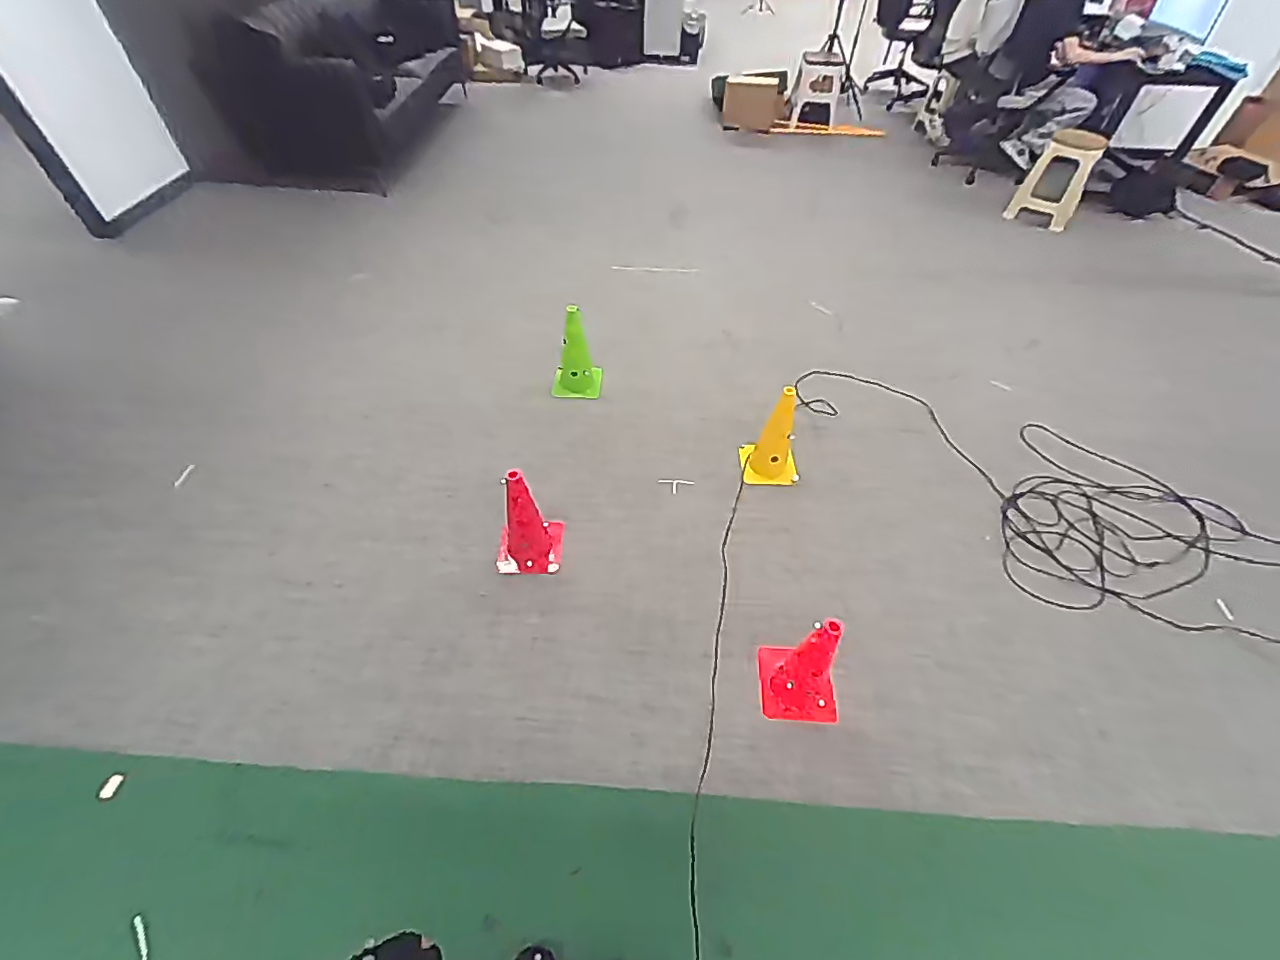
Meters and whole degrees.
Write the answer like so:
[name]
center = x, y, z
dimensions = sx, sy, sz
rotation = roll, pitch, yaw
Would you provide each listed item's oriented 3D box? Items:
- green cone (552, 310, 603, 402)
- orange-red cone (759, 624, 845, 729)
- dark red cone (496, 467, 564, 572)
[green cone]
center = -0.258, -0.515, 2.179
dimensions = 0.202, 0.368, 0.200
rotation = 3, 49, 0
[orange-red cone]
center = 0.434, 0.454, 1.345
dimensions = 0.198, 0.360, 0.199
rotation = 5, 48, 1
[dark red cone]
center = -0.344, 0.101, 1.604
dimensions = 0.202, 0.394, 0.201
rotation = -1, 50, -2
